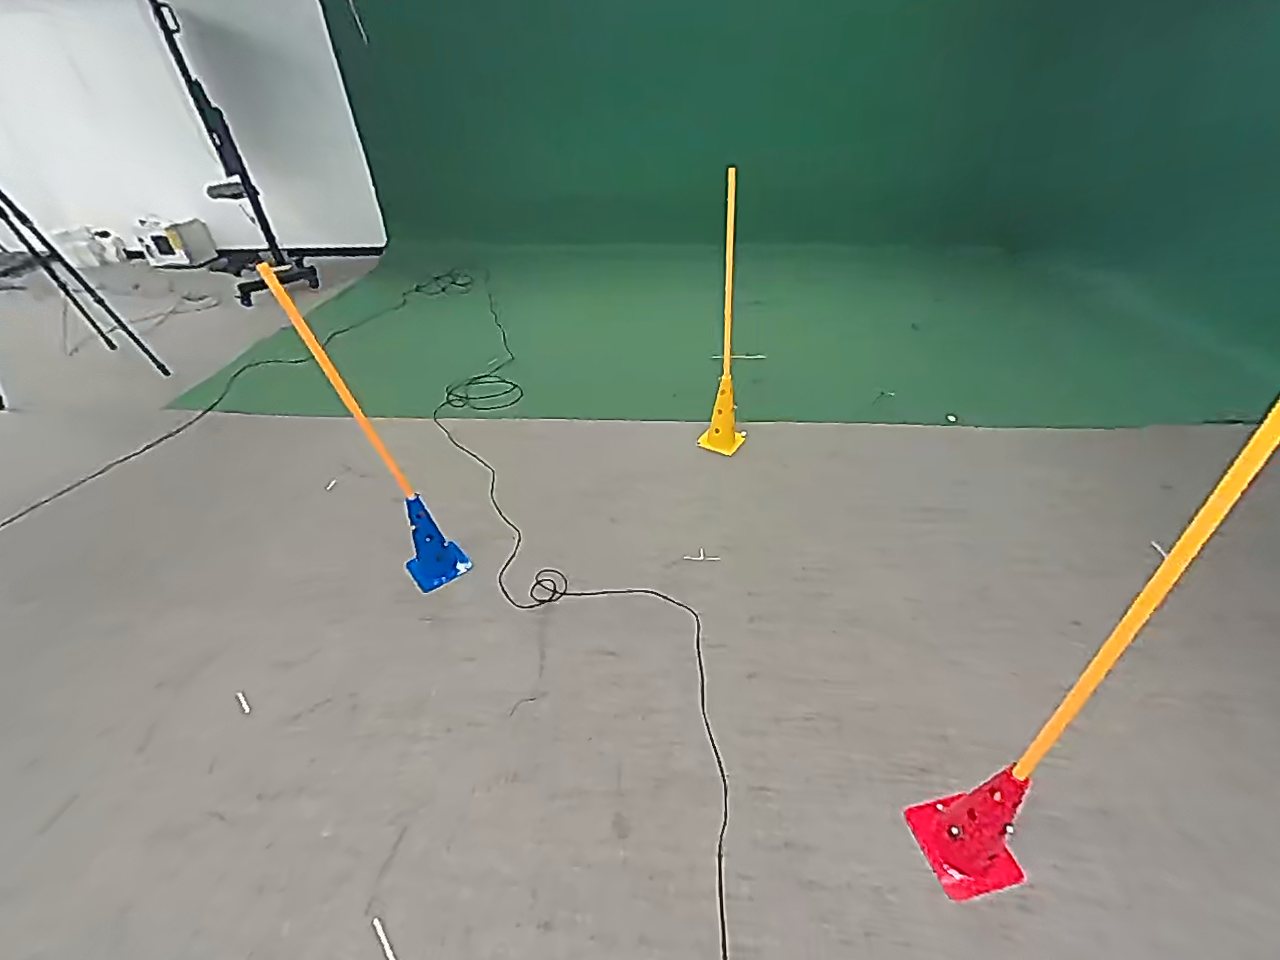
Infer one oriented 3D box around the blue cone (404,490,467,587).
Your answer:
[{"bbox_3d":[-0.782,0.193,1.968,0.193,0.380,0.192,-31,48,-29],"label":"blue cone"}]
